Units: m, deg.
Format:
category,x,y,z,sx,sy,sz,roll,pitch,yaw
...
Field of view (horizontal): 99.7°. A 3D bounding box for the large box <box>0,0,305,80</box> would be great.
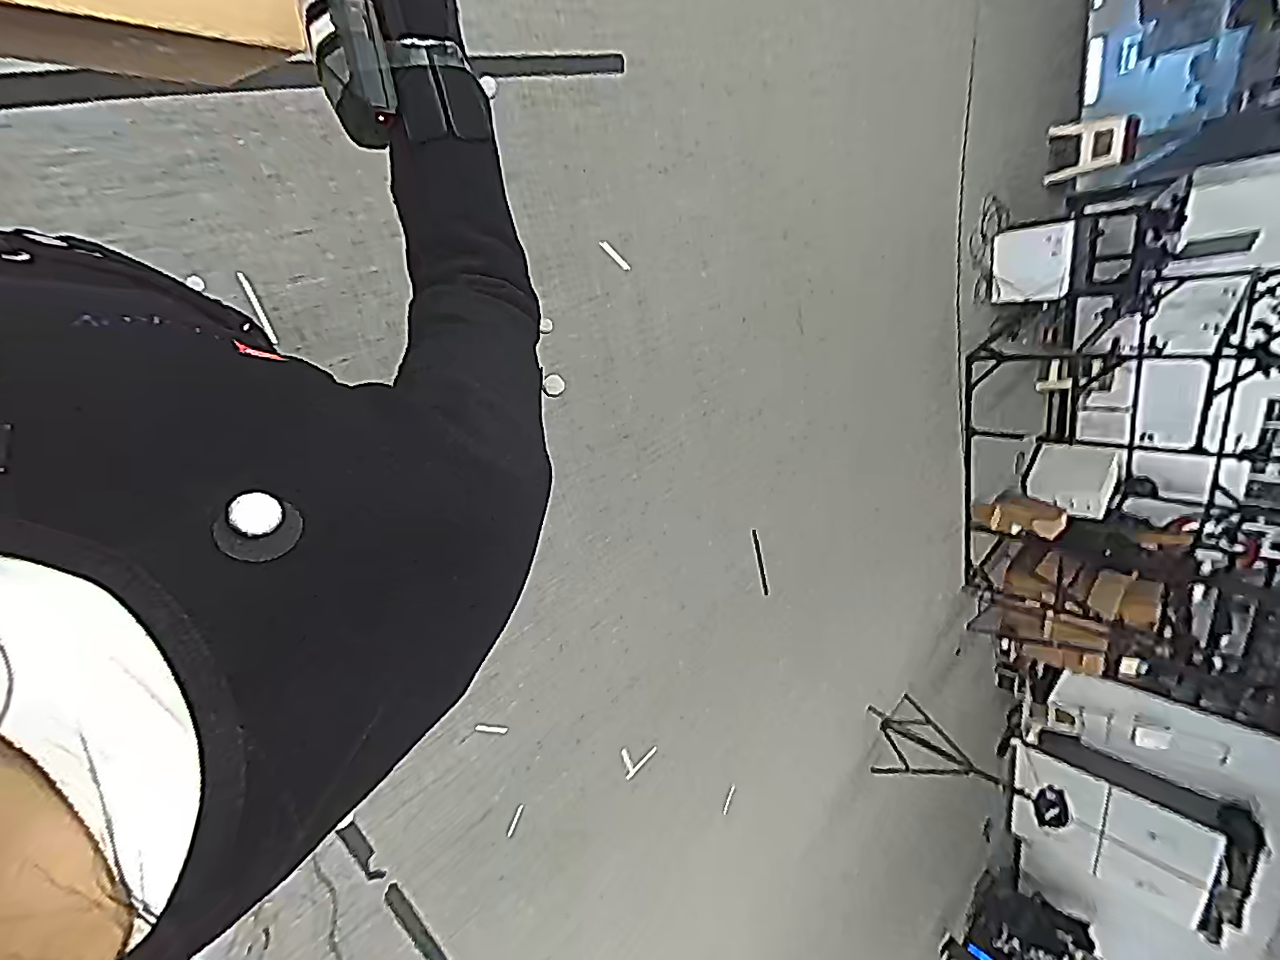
category,x,y,z,sx,sy,sz,roll,pitch,yaw
large box,-0.446,-0.400,0.238,0.408,0.320,0.320,-21,129,-37
